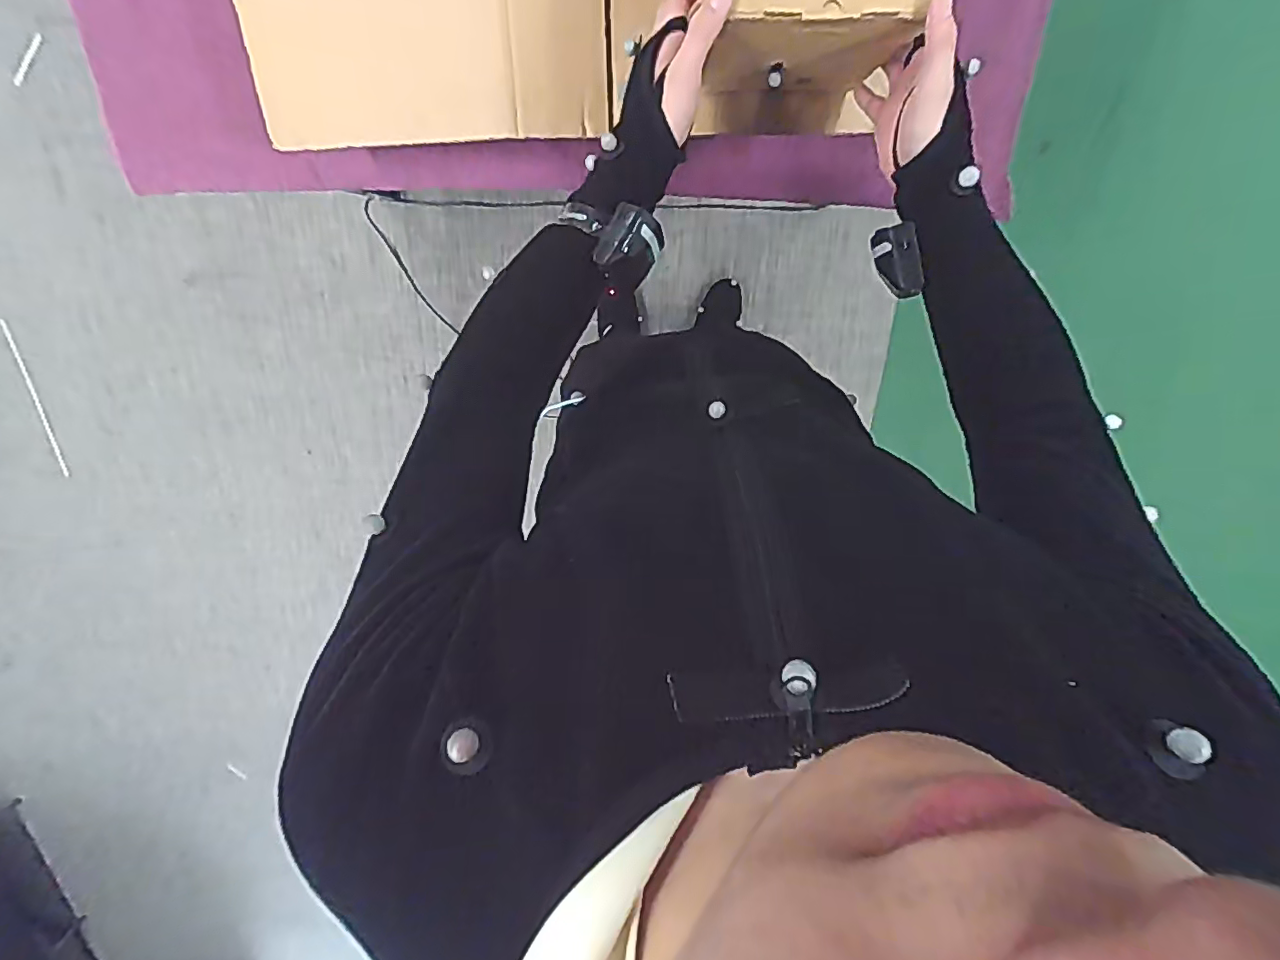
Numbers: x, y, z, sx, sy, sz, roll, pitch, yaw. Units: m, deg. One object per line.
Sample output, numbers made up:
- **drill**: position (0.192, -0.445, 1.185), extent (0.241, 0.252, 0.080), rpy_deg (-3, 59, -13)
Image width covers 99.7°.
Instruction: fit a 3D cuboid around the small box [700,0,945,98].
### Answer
- **small box**: position (0.143, -0.449, 0.452), extent (0.168, 0.176, 0.179), rpy_deg (-1, 112, -1)
